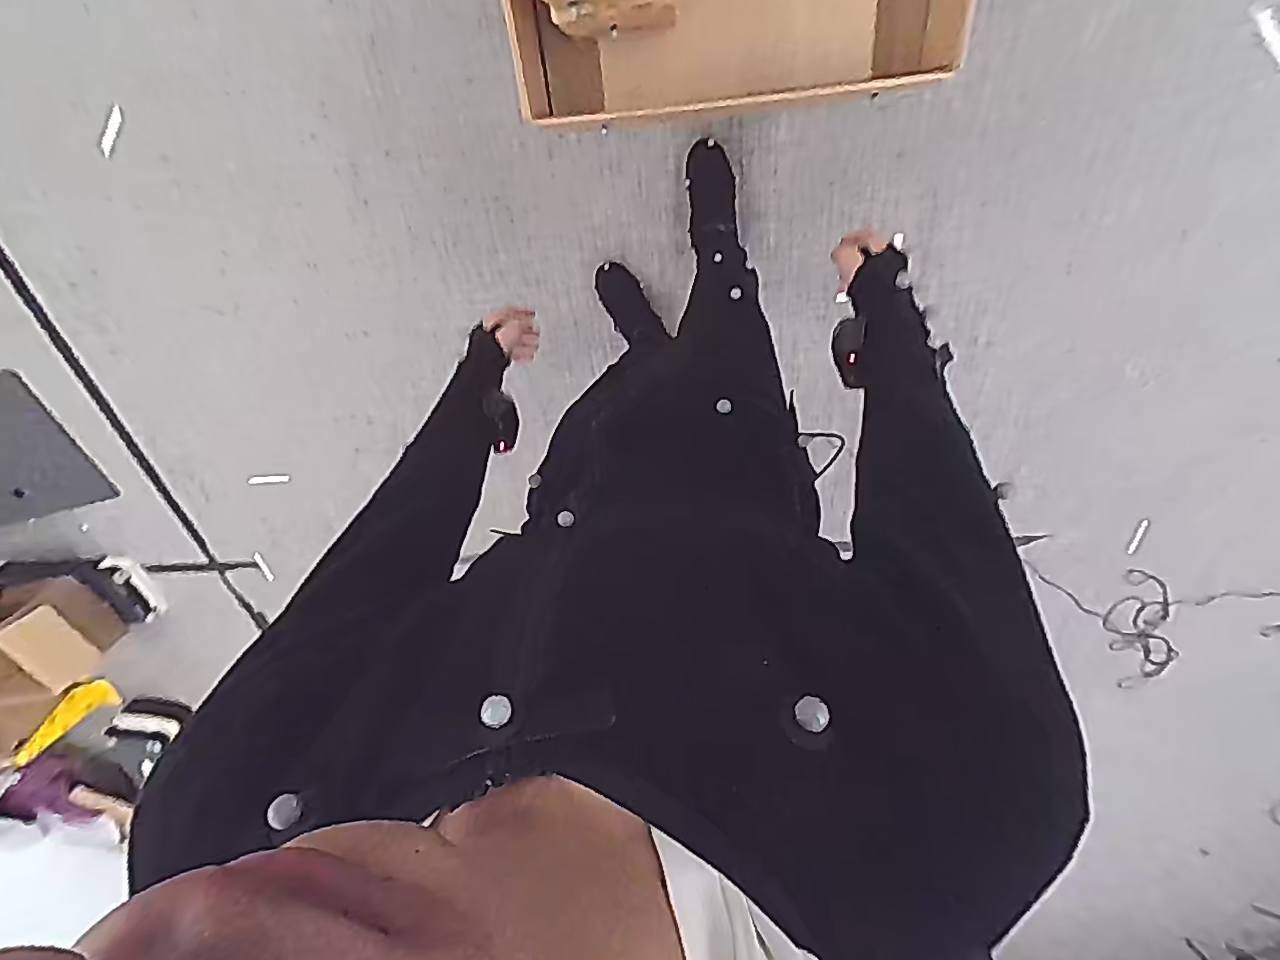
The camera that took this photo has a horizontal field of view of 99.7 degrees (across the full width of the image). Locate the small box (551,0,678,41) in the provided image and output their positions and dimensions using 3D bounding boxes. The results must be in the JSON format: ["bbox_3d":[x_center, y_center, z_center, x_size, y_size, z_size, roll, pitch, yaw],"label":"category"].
[{"bbox_3d":[-0.038,-0.725,0.727,0.168,0.176,0.179,-4,122,8],"label":"small box"}]

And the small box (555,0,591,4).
[{"bbox_3d":[-0.049,-0.646,0.583,0.168,0.176,0.179,-4,122,7],"label":"small box"}]
